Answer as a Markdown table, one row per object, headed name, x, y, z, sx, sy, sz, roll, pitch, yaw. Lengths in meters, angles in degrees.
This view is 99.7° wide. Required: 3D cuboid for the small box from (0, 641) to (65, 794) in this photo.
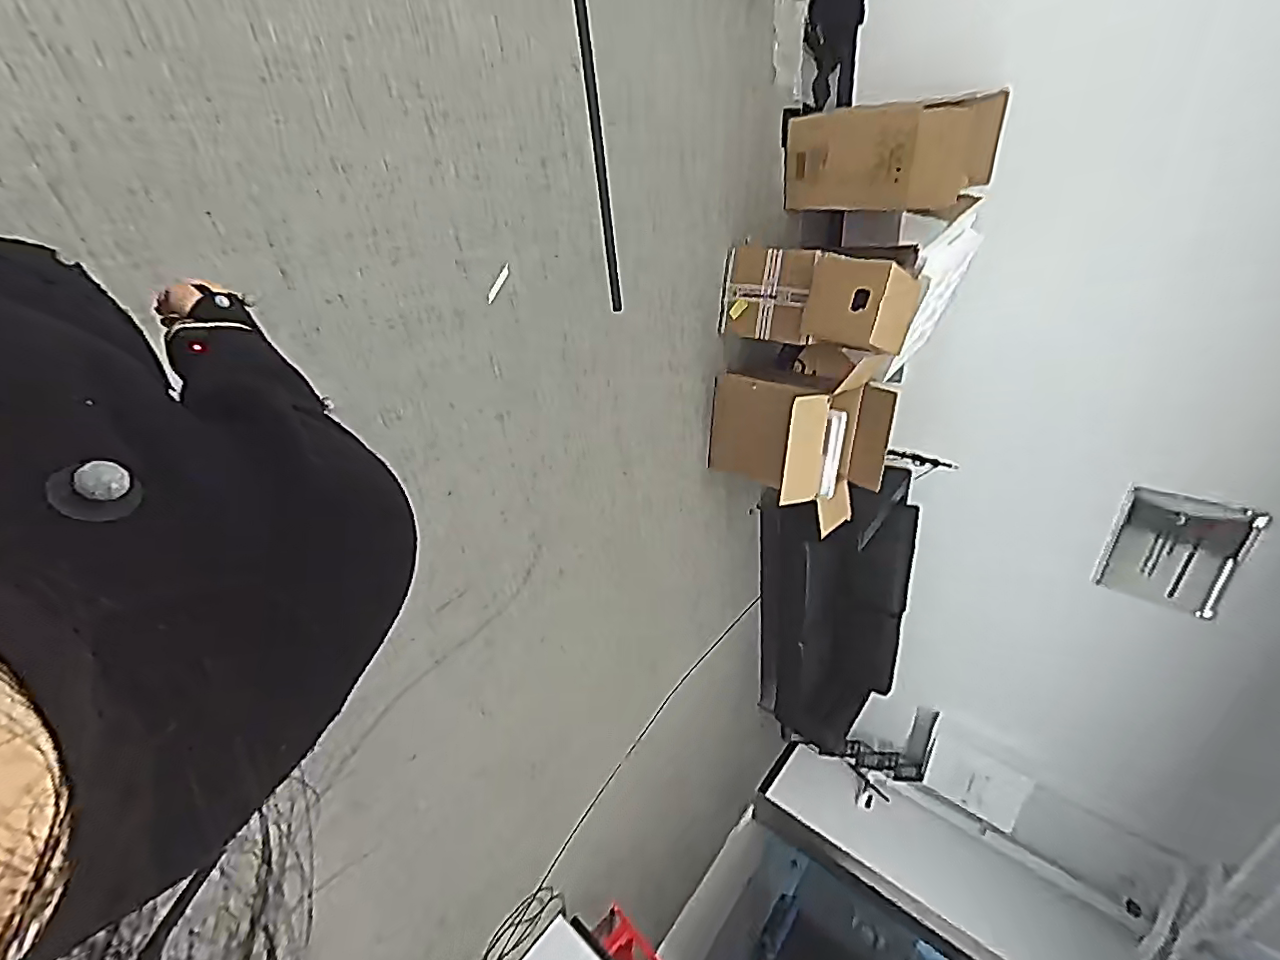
| name | x | y | z | sx | sy | sz | roll | pitch | yaw |
| --- | --- | --- | --- | --- | --- | --- | --- | --- | --- |
| small box | -0.995 | 0.365 | 0.778 | 0.179 | 0.176 | 0.168 | -36 | 131 | -35 |
